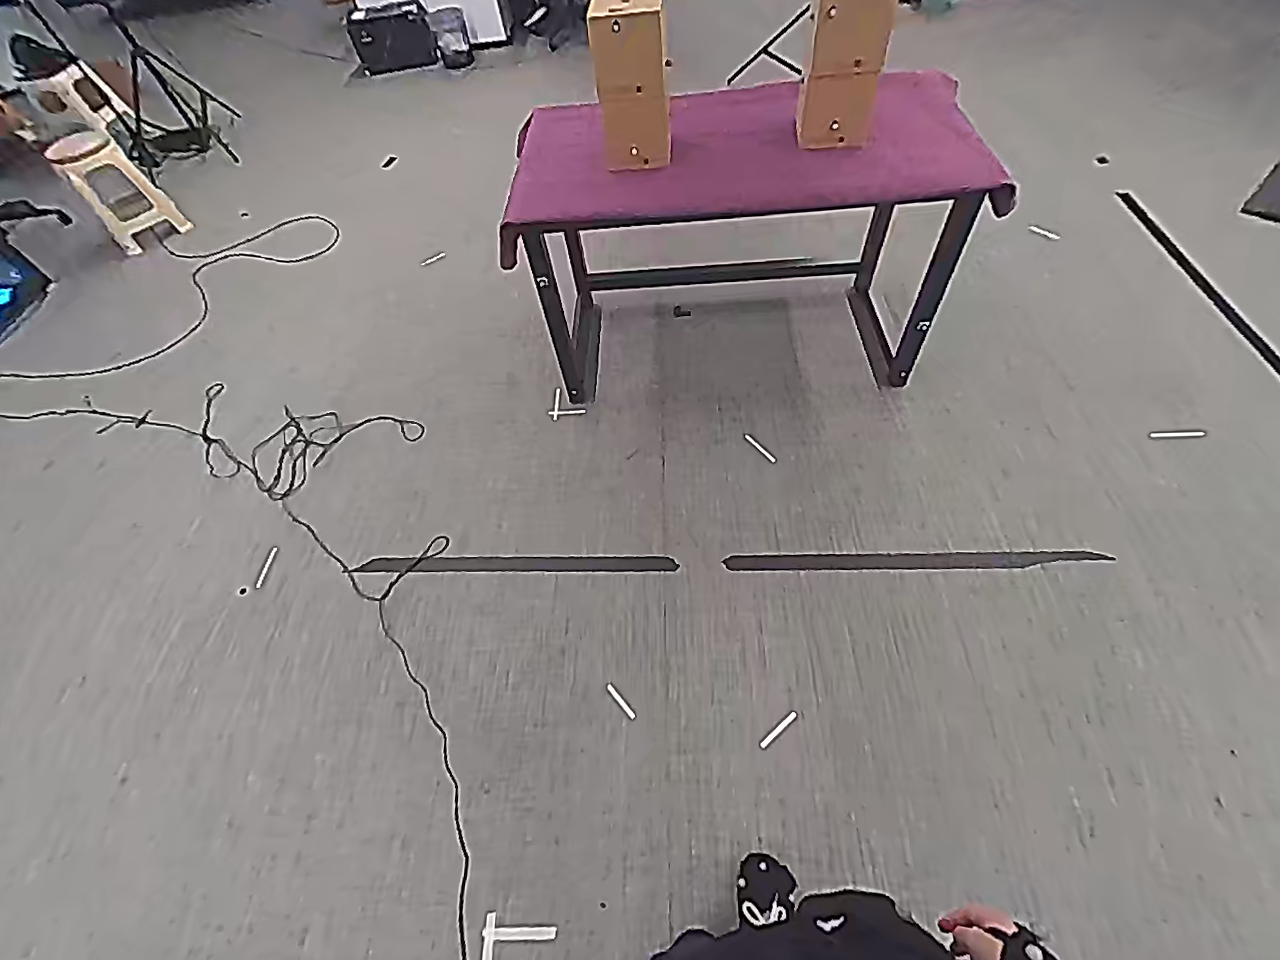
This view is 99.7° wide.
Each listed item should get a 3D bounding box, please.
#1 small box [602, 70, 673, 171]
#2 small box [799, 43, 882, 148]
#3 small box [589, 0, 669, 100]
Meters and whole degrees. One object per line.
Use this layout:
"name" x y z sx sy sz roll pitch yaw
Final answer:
"small box" -0.001 -0.942 1.419 0.168 0.176 0.179 -1 57 6
"small box" 0.504 -0.980 1.383 0.168 0.176 0.179 2 56 9
"small box" -0.018 -1.033 1.283 0.168 0.176 0.179 0 56 7
